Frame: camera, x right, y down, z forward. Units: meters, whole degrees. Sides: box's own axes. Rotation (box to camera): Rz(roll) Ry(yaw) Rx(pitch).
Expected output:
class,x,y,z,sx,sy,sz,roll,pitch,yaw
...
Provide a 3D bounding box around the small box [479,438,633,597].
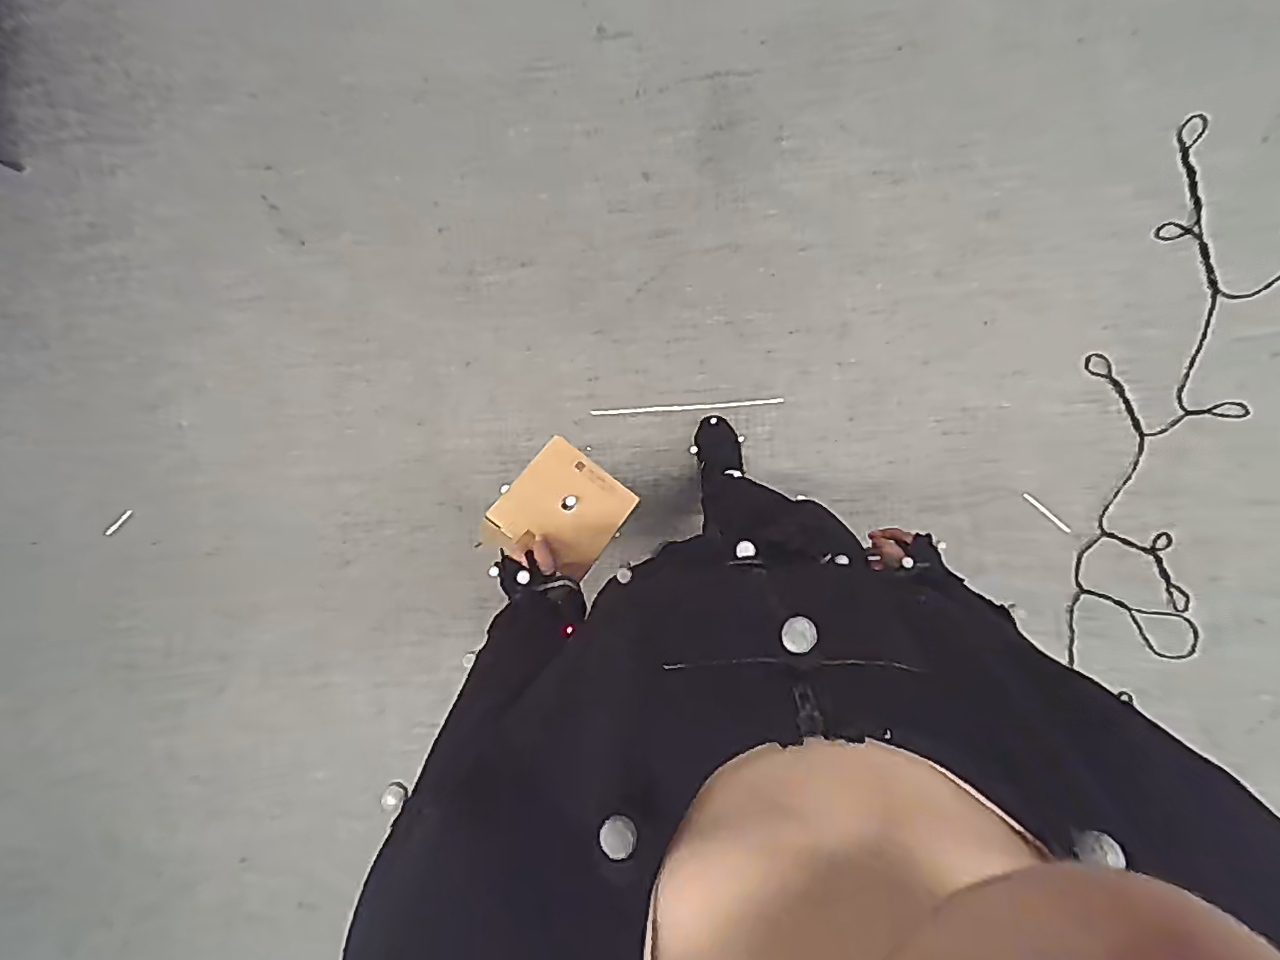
class,x,y,z,sx,sy,sz,roll,pitch,yaw
small box,-0.133,0.061,0.864,0.168,0.179,0.176,37,63,-4
